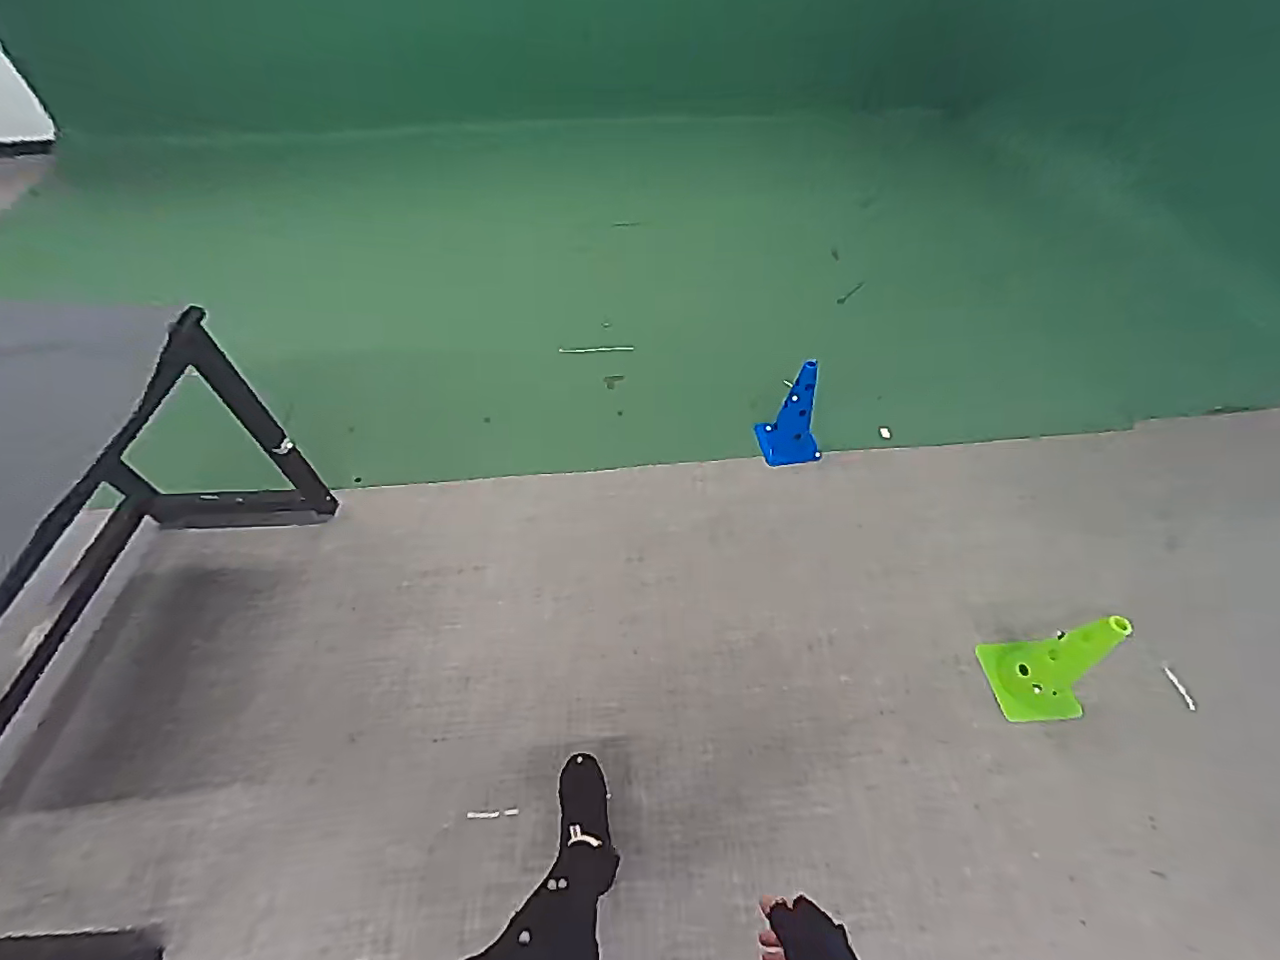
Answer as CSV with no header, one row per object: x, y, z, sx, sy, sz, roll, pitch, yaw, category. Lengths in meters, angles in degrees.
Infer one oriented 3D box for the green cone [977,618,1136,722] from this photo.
1.001,0.409,1.261,0.200,0.368,0.202,-4,53,-3,green cone
